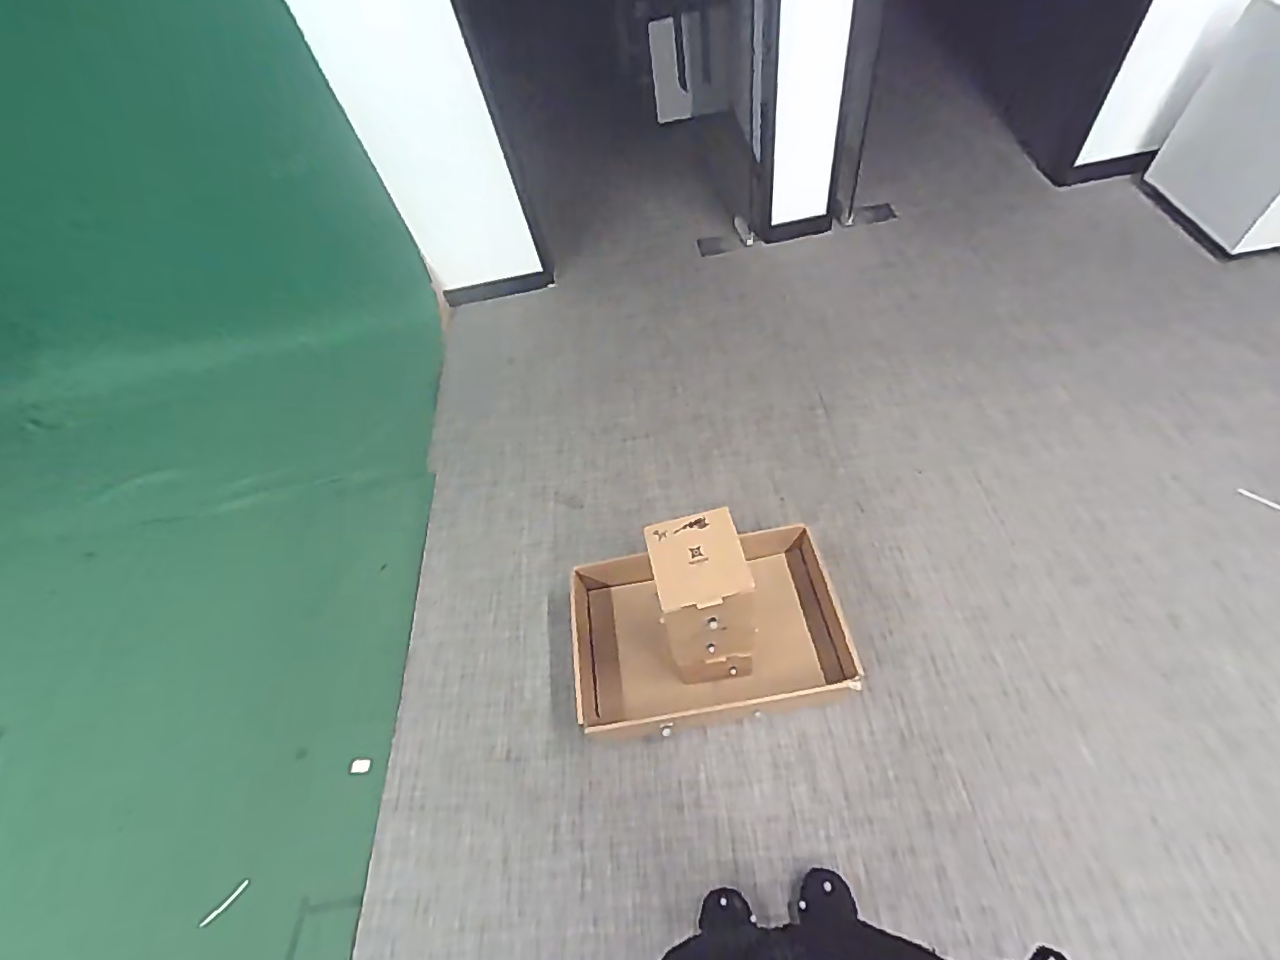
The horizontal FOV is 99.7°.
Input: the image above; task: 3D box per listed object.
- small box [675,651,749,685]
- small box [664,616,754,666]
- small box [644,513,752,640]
[{"bbox_3d":[0.165,0.378,1.291,0.168,0.176,0.179,-9,53,4],"label":"small box"},{"bbox_3d":[0.140,0.285,1.158,0.179,0.176,0.168,-11,54,4],"label":"small box"},{"bbox_3d":[0.112,0.191,1.027,0.168,0.176,0.179,-13,54,2],"label":"small box"}]
